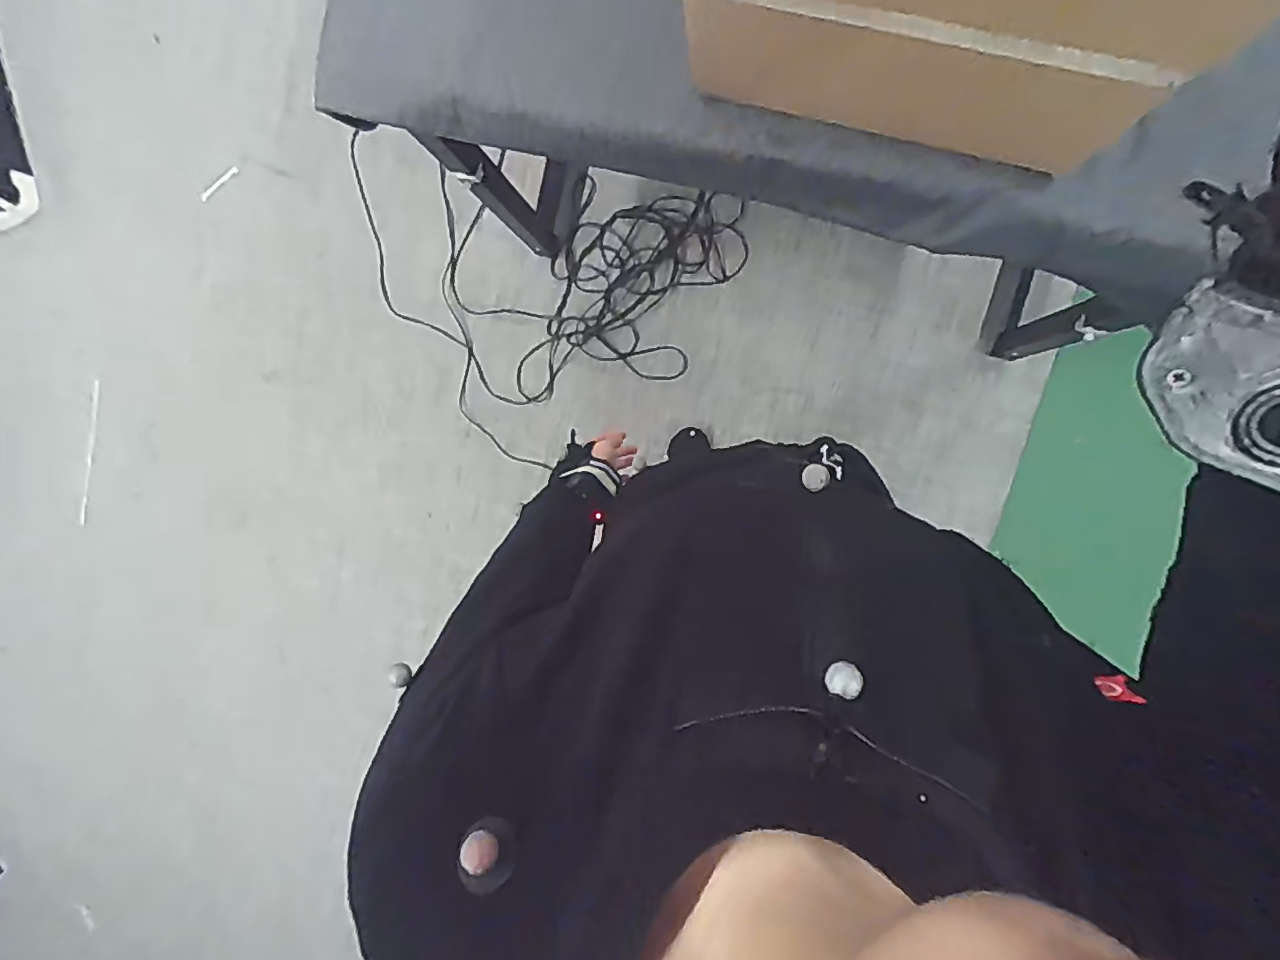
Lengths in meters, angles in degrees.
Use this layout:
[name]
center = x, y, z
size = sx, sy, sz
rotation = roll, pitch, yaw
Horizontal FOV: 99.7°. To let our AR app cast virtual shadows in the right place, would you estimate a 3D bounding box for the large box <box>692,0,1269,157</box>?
[large box]
center = 0.270, -0.514, 0.412
size = 0.408, 0.320, 0.320
rotation = 17, 96, 6
